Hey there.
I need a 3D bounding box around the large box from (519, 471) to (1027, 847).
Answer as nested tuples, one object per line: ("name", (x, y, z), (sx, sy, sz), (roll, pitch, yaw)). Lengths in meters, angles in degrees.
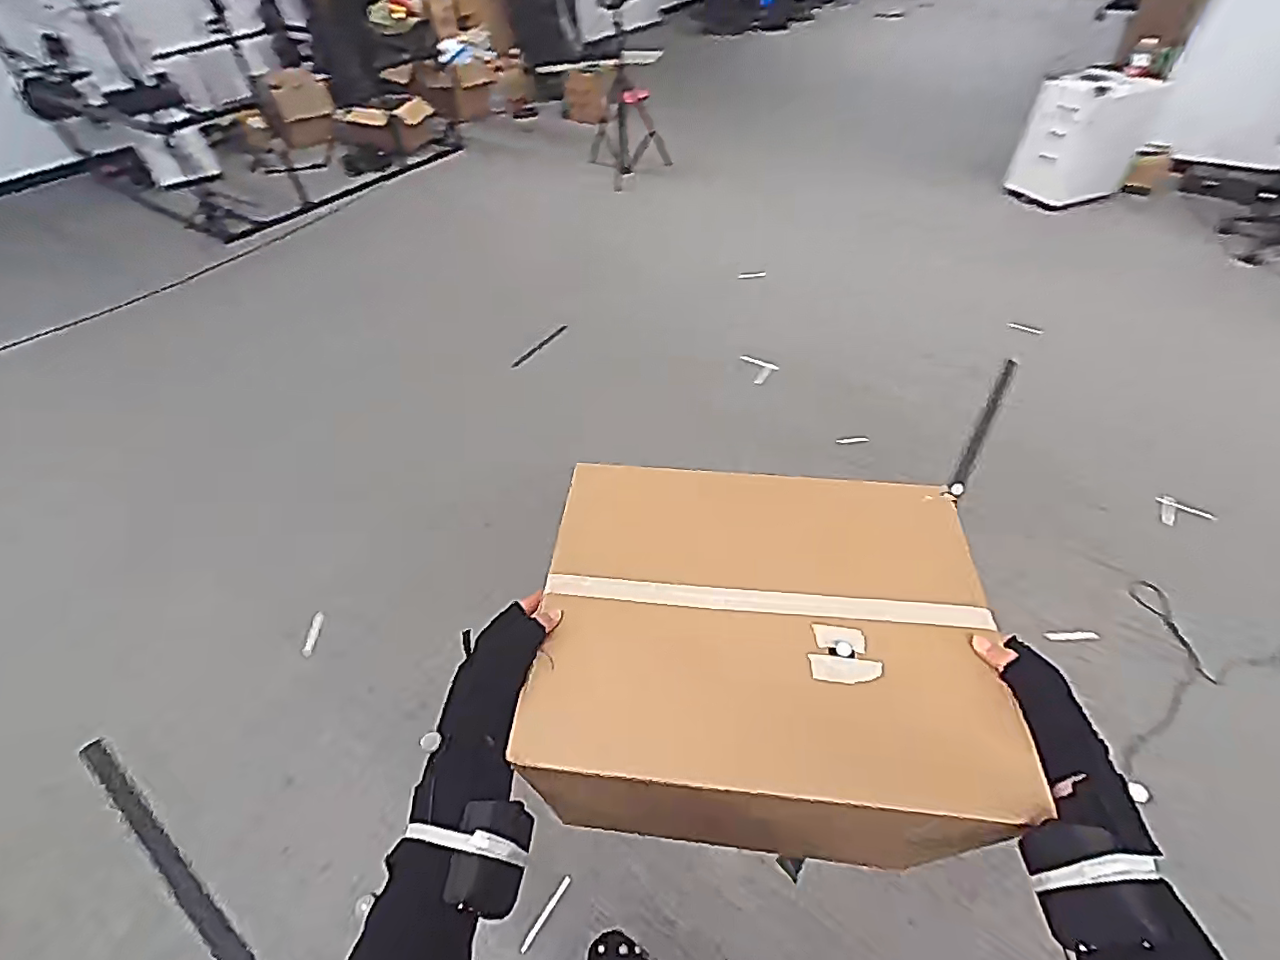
("large box", (0.112, 0.210, 0.628), (0.408, 0.320, 0.320), (3, 51, 5))
